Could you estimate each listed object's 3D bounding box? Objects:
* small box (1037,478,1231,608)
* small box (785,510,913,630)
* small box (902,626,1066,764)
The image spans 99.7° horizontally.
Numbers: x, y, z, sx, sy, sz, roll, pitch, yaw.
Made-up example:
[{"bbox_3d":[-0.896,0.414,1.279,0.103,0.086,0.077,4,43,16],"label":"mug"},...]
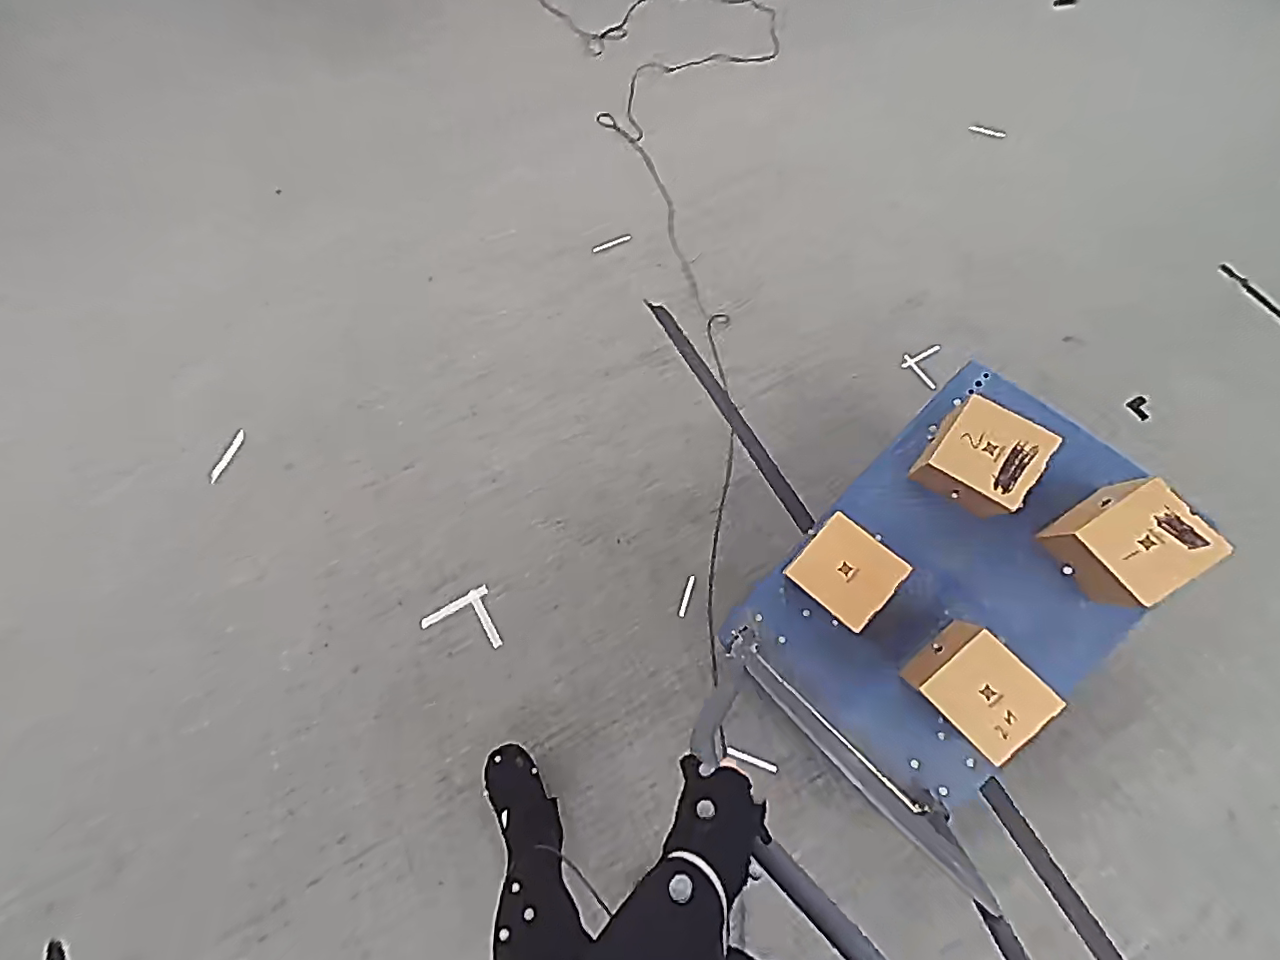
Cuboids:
[{"bbox_3d":[0.916,0.120,1.026,0.179,0.176,0.168,-37,75,5],"label":"small box"},{"bbox_3d":[0.419,0.187,1.124,0.179,0.176,0.168,40,90,14],"label":"small box"},{"bbox_3d":[0.641,0.397,1.037,0.168,0.176,0.179,-44,74,2],"label":"small box"}]
